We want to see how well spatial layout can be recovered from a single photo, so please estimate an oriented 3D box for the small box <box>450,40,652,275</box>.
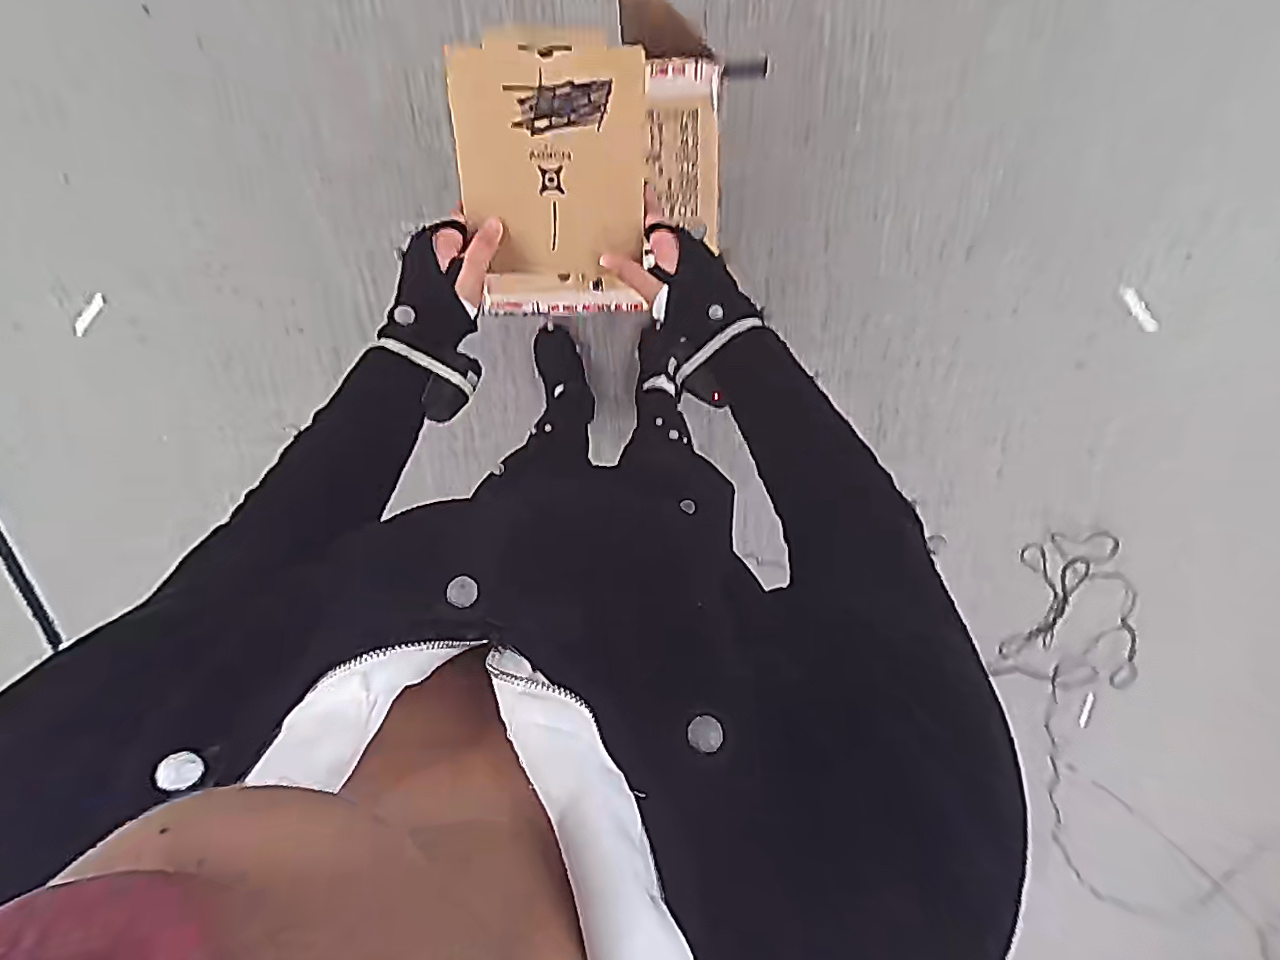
[{"bbox_3d":[-0.077,-0.307,0.544,0.168,0.176,0.179,0,116,-2],"label":"small box"}]
